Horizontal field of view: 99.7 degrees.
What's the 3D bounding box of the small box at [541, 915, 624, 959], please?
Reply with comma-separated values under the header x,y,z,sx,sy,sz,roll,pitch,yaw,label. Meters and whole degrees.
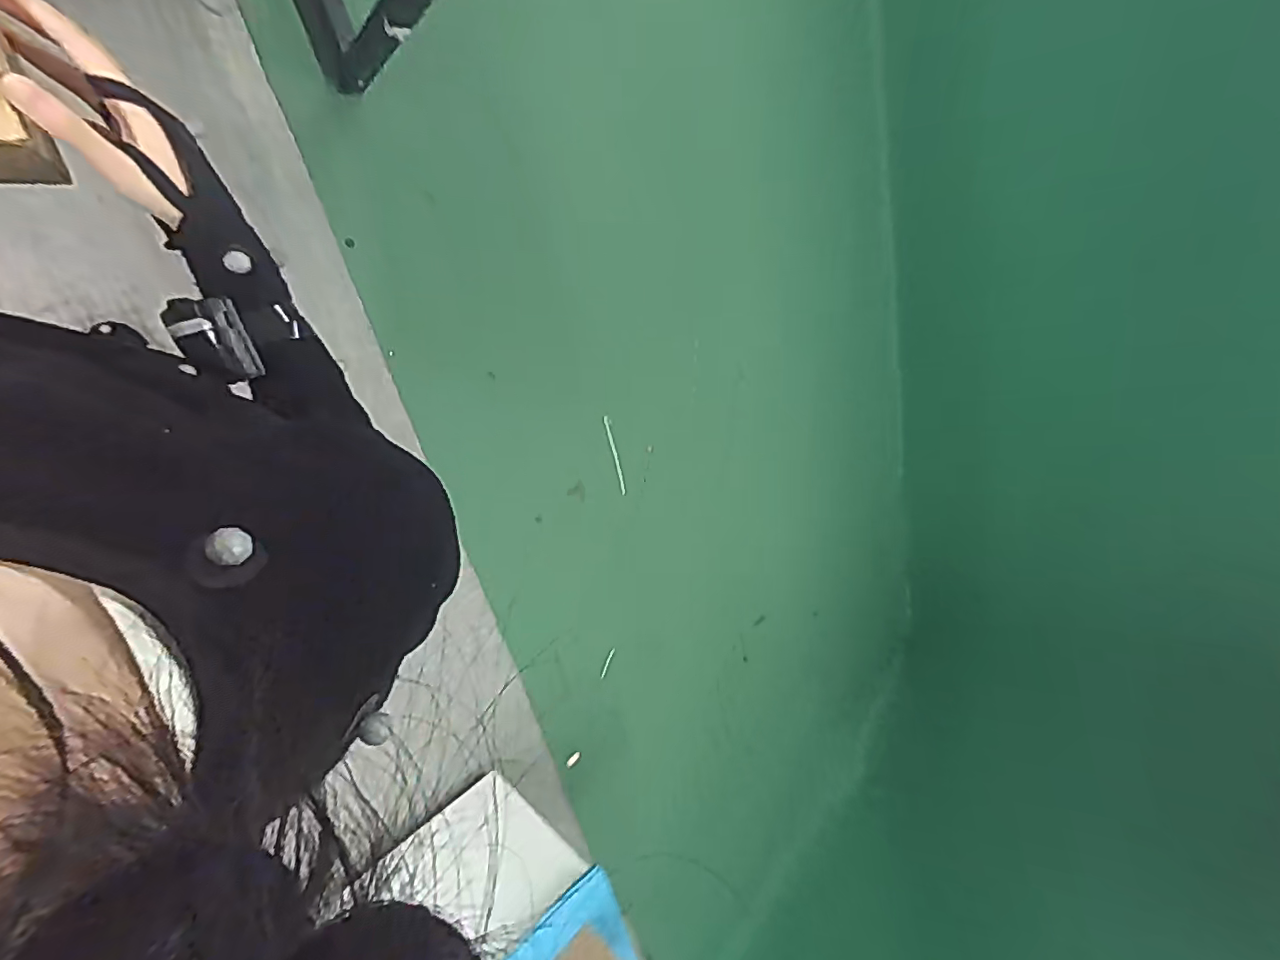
x,y,z,sx,sy,sz,roll,pitch,yaw,label
-0.136,1.210,1.287,0.179,0.176,0.168,-31,119,-38,small box
